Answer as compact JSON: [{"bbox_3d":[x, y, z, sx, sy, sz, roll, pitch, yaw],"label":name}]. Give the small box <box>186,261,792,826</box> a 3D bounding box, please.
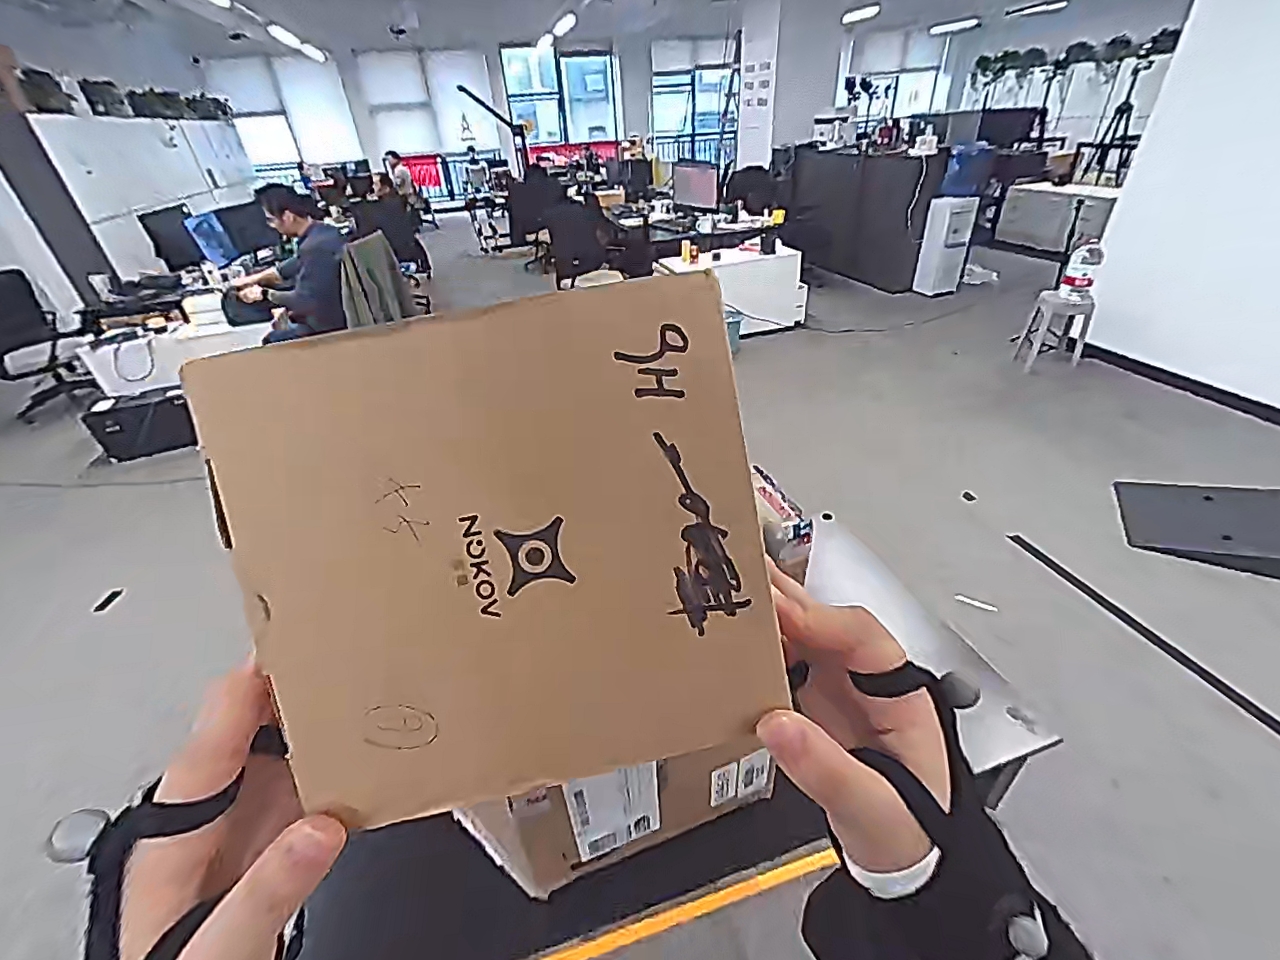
[{"bbox_3d":[-0.049,0.016,0.260,0.179,0.168,0.176,-12,6,-3],"label":"small box"}]
